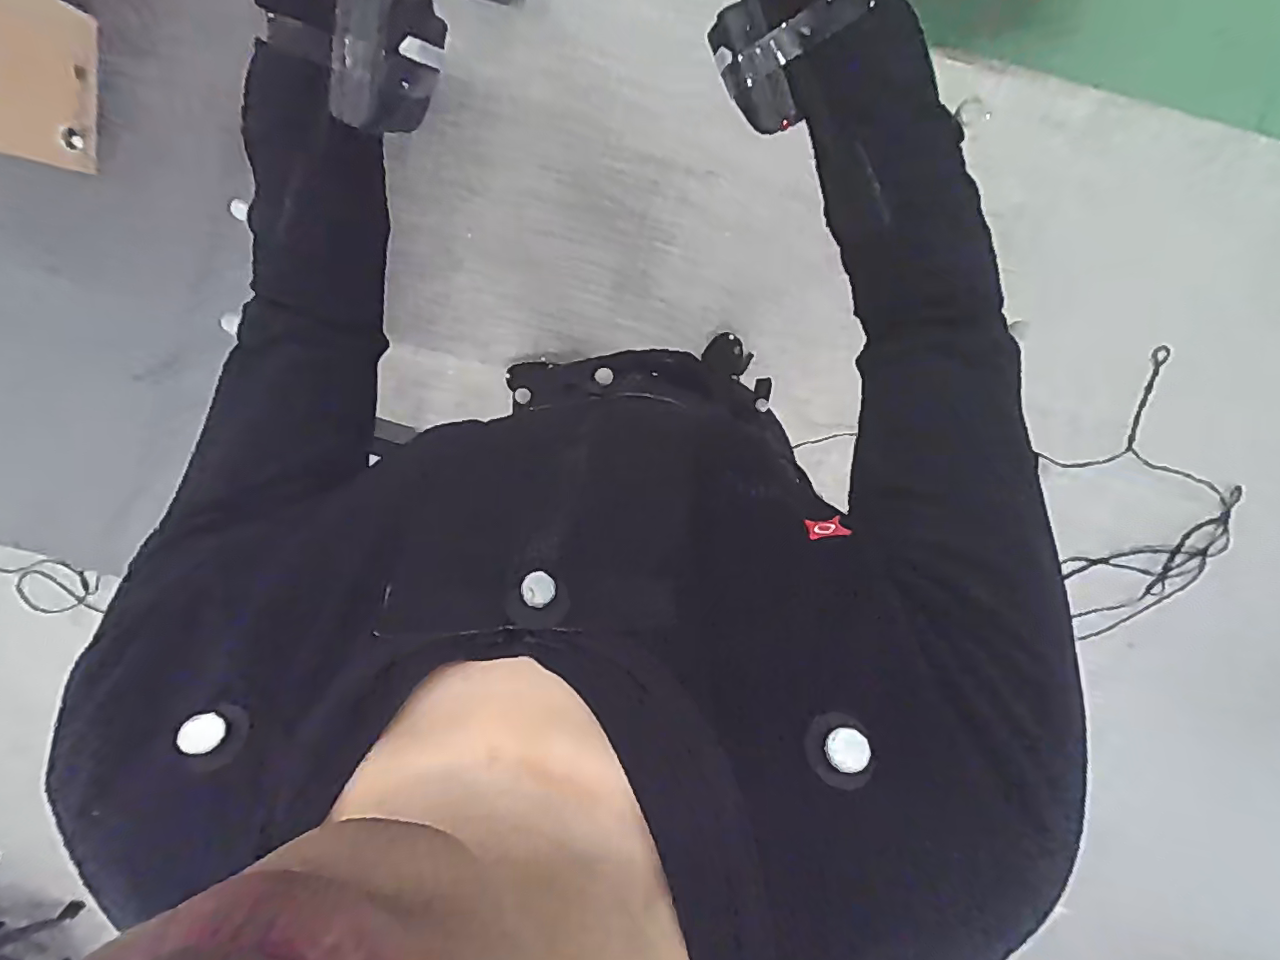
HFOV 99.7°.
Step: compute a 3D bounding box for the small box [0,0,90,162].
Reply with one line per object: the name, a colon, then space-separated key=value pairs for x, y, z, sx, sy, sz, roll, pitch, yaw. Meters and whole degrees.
small box: x=-0.714 y=-0.445 z=0.542 sx=0.179 sy=0.176 sz=0.168 roll=18 pitch=107 yaw=-2
